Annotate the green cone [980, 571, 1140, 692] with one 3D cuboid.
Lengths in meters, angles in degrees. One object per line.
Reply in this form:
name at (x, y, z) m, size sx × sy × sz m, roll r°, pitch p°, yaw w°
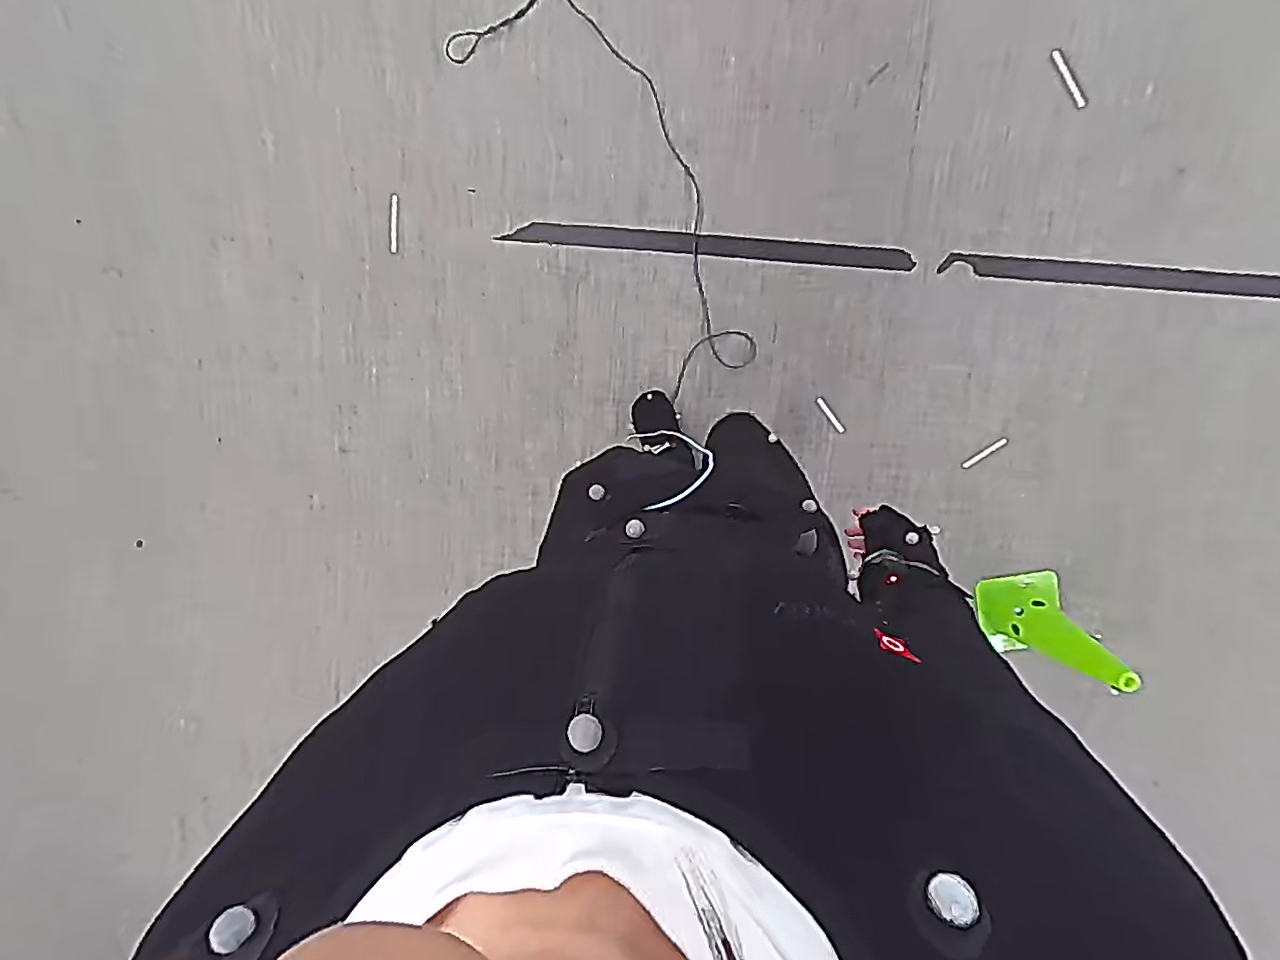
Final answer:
green cone at (0.973, 0.364, 1.225) m, size 0.202 × 0.368 × 0.200 m, roll -11°, pitch 97°, yaw 7°
